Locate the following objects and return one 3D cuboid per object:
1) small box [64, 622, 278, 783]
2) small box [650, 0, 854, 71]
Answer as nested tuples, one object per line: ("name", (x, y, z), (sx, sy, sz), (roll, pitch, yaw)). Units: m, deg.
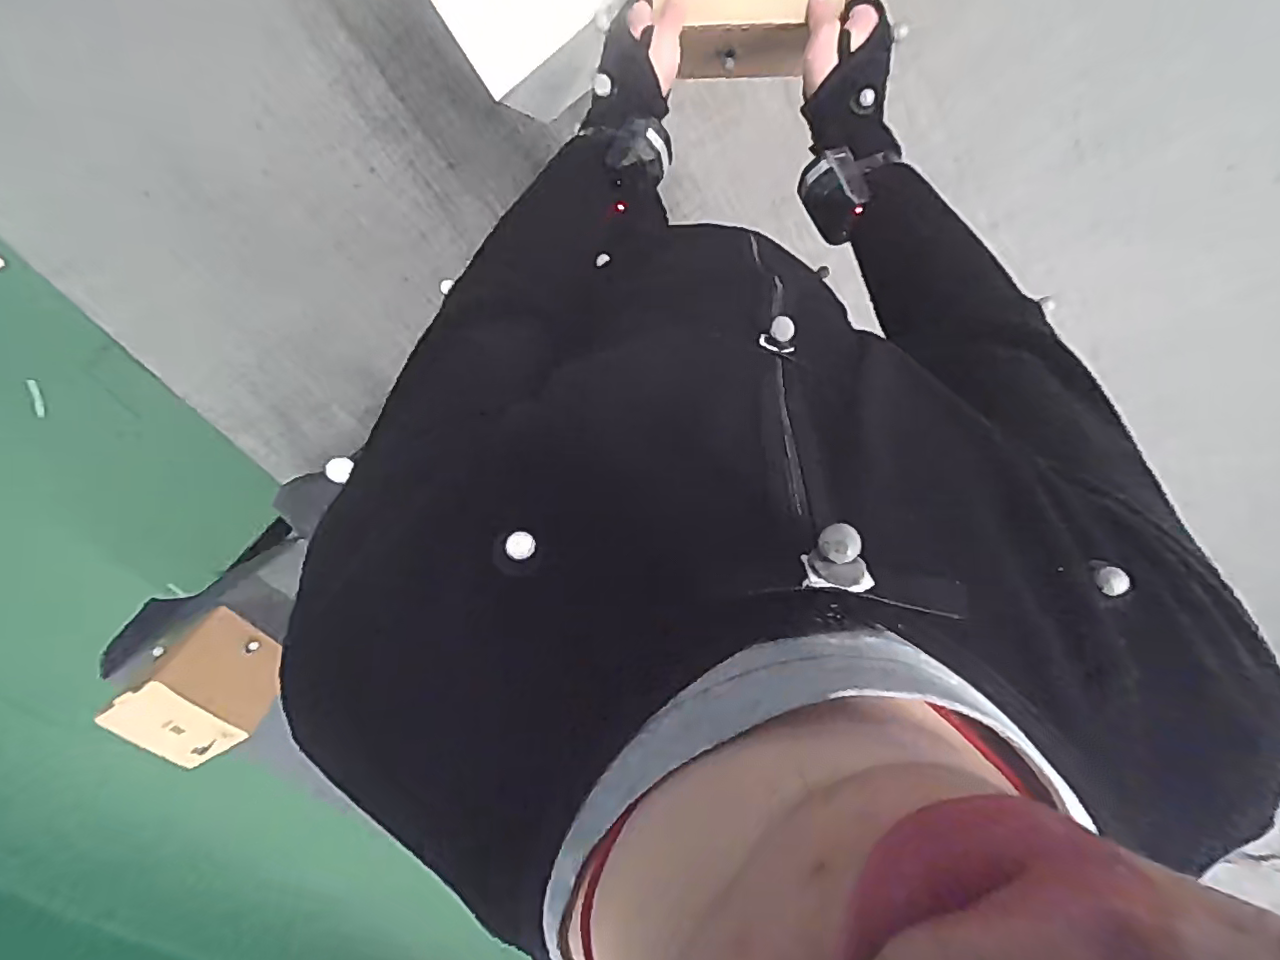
("small box", (-0.777, 0.367, 0.919), (0.168, 0.176, 0.179), (-29, 117, 13))
("small box", (0.099, -0.511, 0.510), (0.179, 0.176, 0.168), (0, 113, 1))
